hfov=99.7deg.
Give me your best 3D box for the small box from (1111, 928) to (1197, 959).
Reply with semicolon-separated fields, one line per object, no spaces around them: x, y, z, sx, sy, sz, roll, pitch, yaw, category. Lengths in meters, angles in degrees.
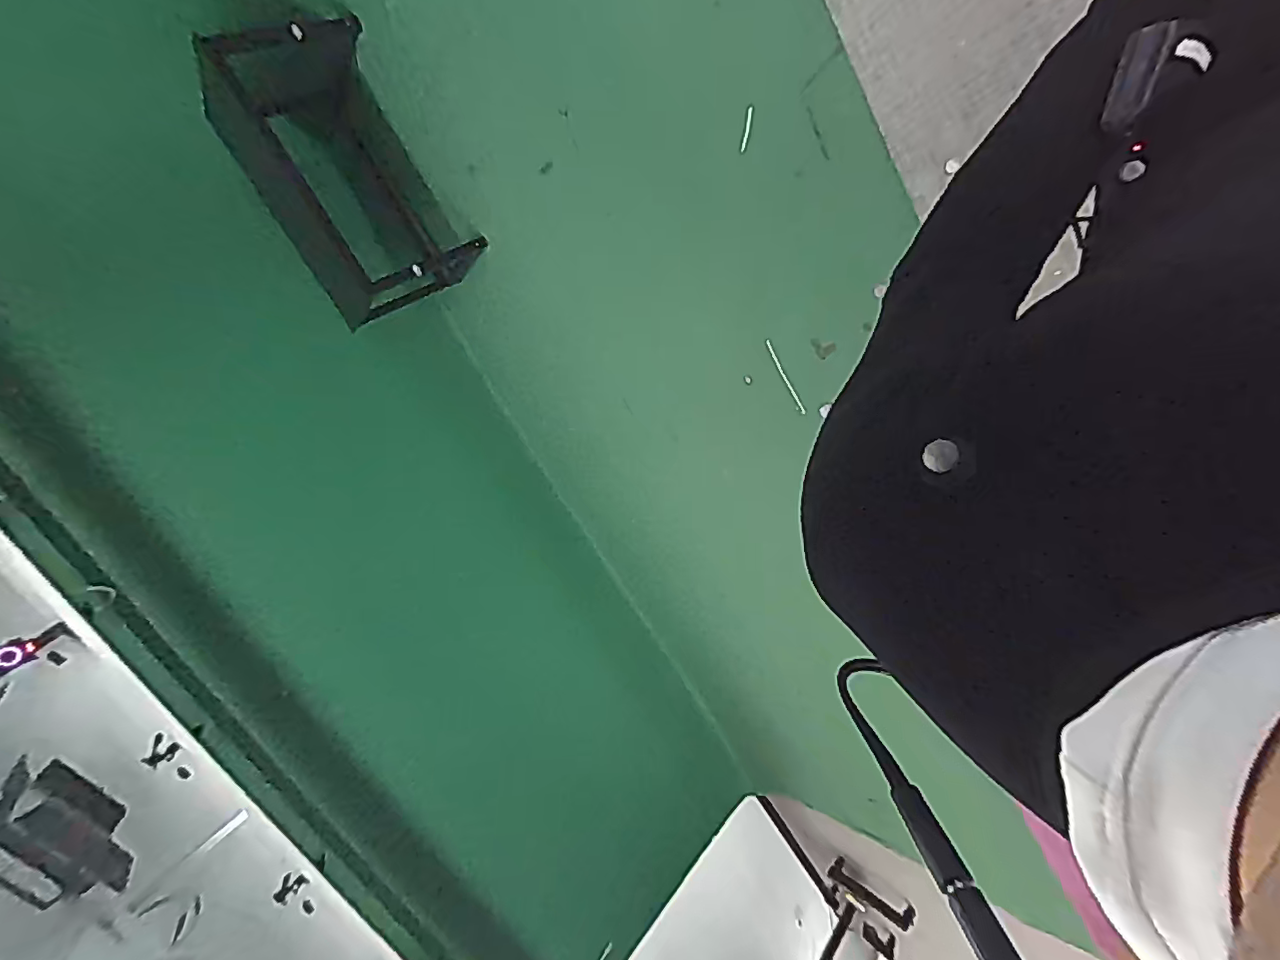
1.210;1.196;1.234;0.179;0.176;0.168;57;149;-10;small box
